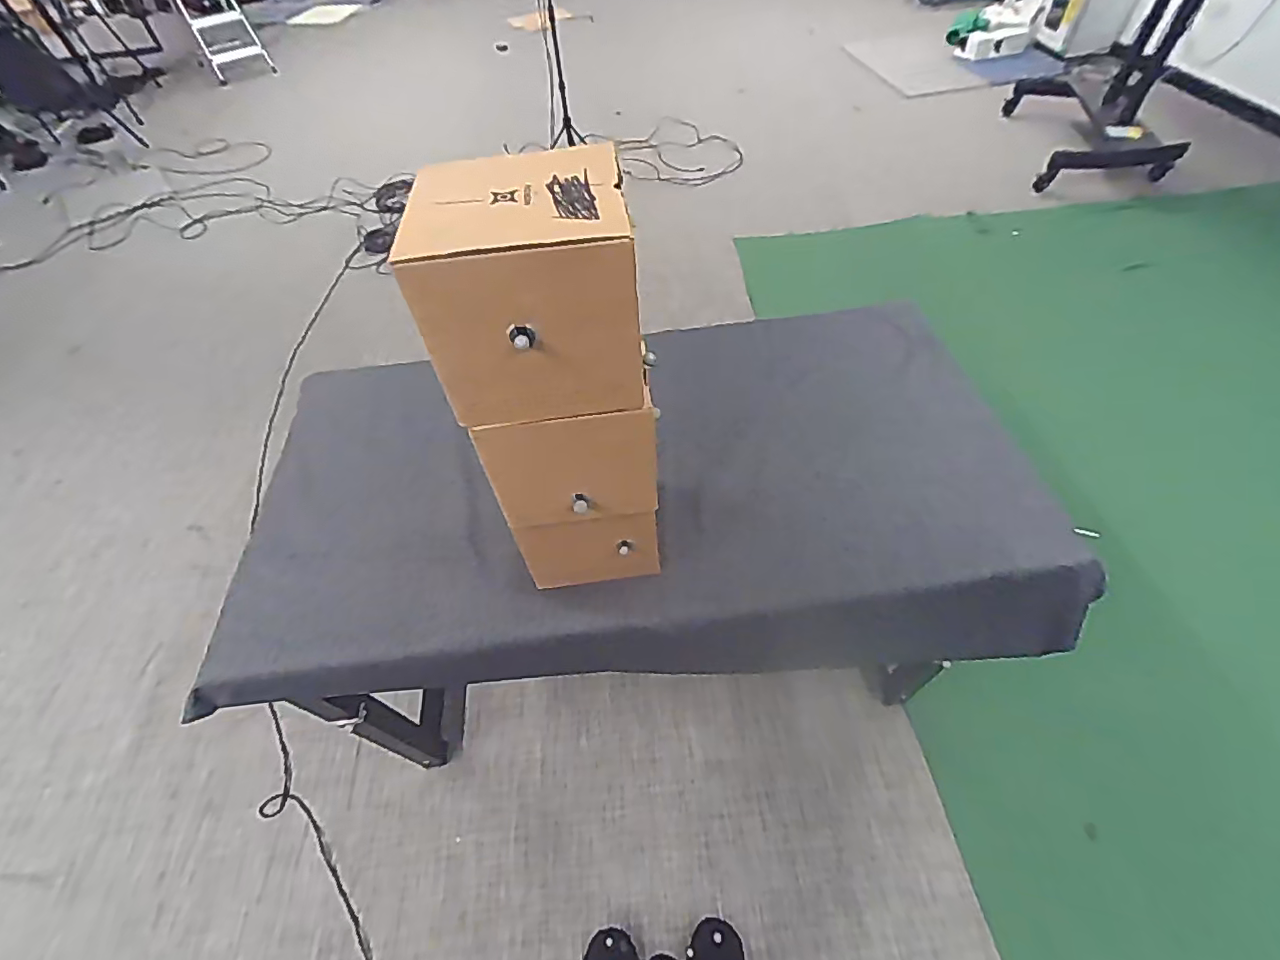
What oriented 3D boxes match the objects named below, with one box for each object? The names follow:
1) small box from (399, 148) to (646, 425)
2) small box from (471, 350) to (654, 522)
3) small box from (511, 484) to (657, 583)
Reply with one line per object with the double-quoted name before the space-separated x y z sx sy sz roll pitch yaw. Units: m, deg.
"small box" -0.092 -0.170 0.491 0.179 0.176 0.168 -8 53 -4
"small box" -0.079 -0.070 0.621 0.179 0.176 0.168 -7 52 -2
"small box" -0.071 0.025 0.754 0.179 0.176 0.168 -9 52 0
